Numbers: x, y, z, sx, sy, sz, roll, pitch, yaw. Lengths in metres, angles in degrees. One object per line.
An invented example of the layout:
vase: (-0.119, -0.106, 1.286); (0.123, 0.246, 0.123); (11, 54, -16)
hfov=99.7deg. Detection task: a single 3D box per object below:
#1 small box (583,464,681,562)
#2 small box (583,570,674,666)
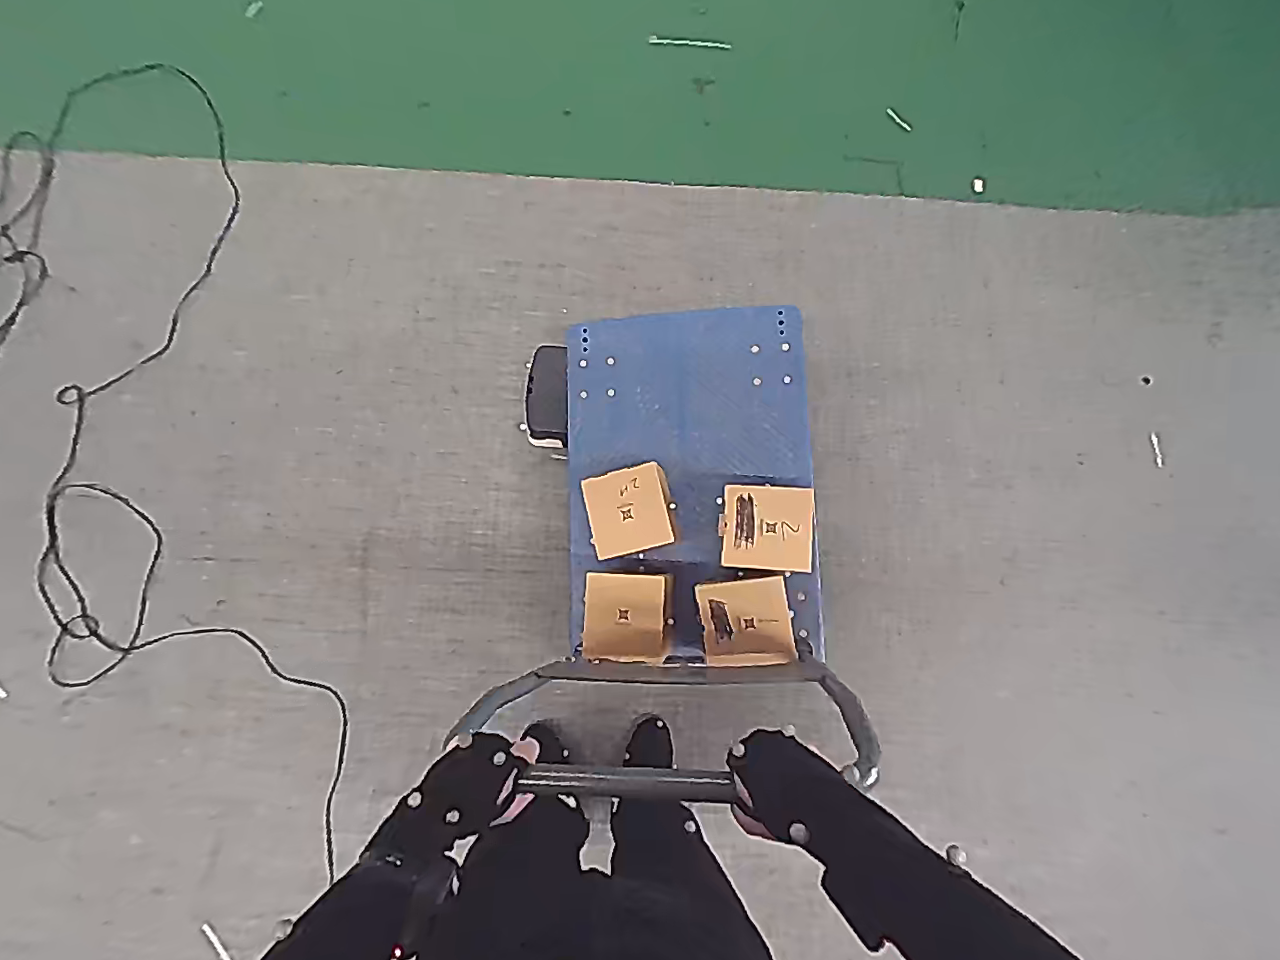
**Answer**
small box: (-0.011, 0.076, 1.196); (0.168, 0.176, 0.179); (-14, 80, 7)
small box: (-0.018, 0.289, 1.171); (0.168, 0.176, 0.179); (2, 84, 10)
